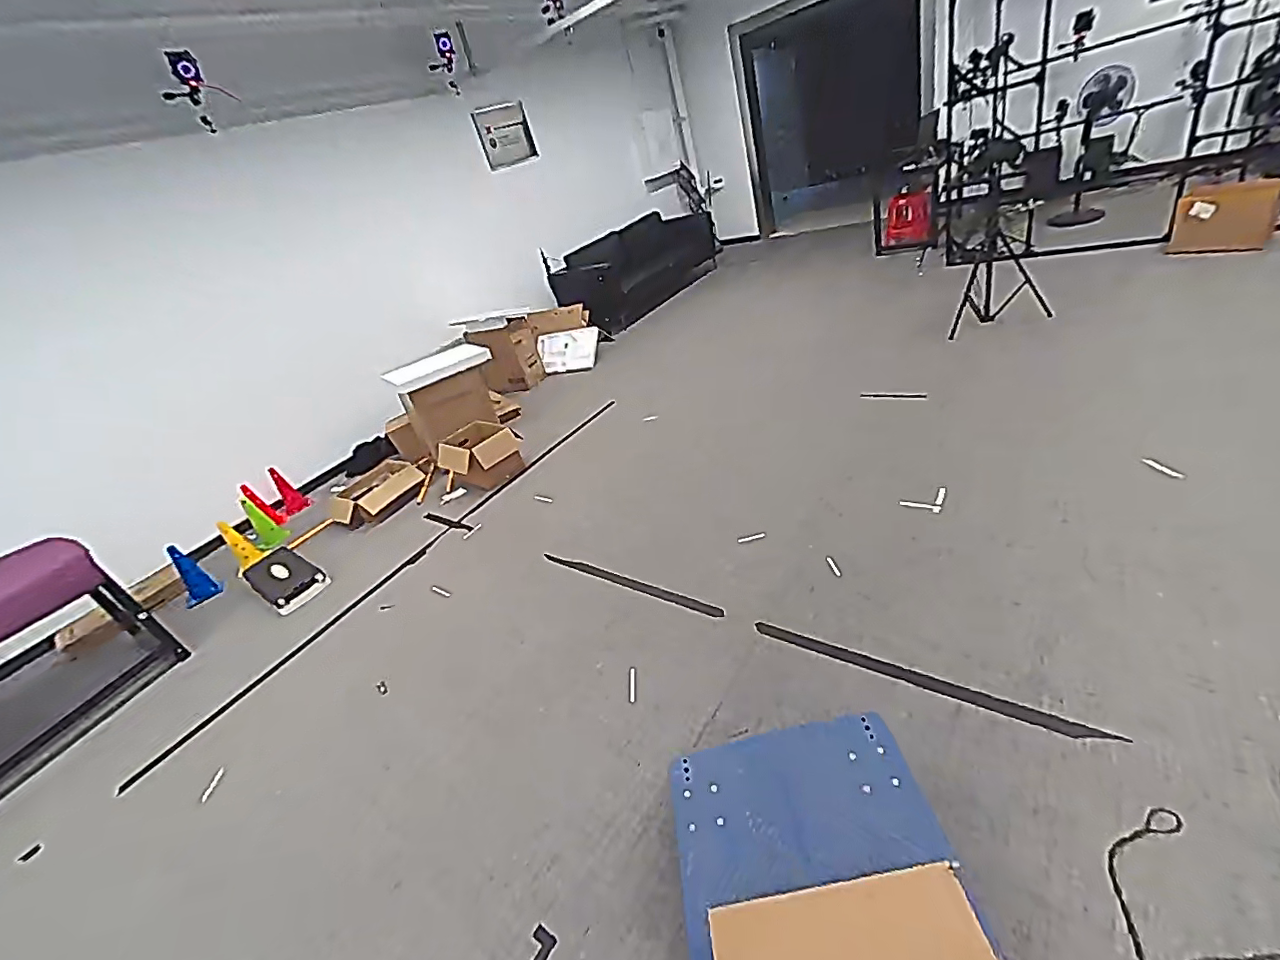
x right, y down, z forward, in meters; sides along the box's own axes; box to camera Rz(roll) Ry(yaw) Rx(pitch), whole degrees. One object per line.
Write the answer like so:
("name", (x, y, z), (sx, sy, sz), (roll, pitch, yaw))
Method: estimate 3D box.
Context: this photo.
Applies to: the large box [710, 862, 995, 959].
("large box", (0.354, 0.873, 0.834), (0.408, 0.320, 0.320), (-15, 30, 4))
